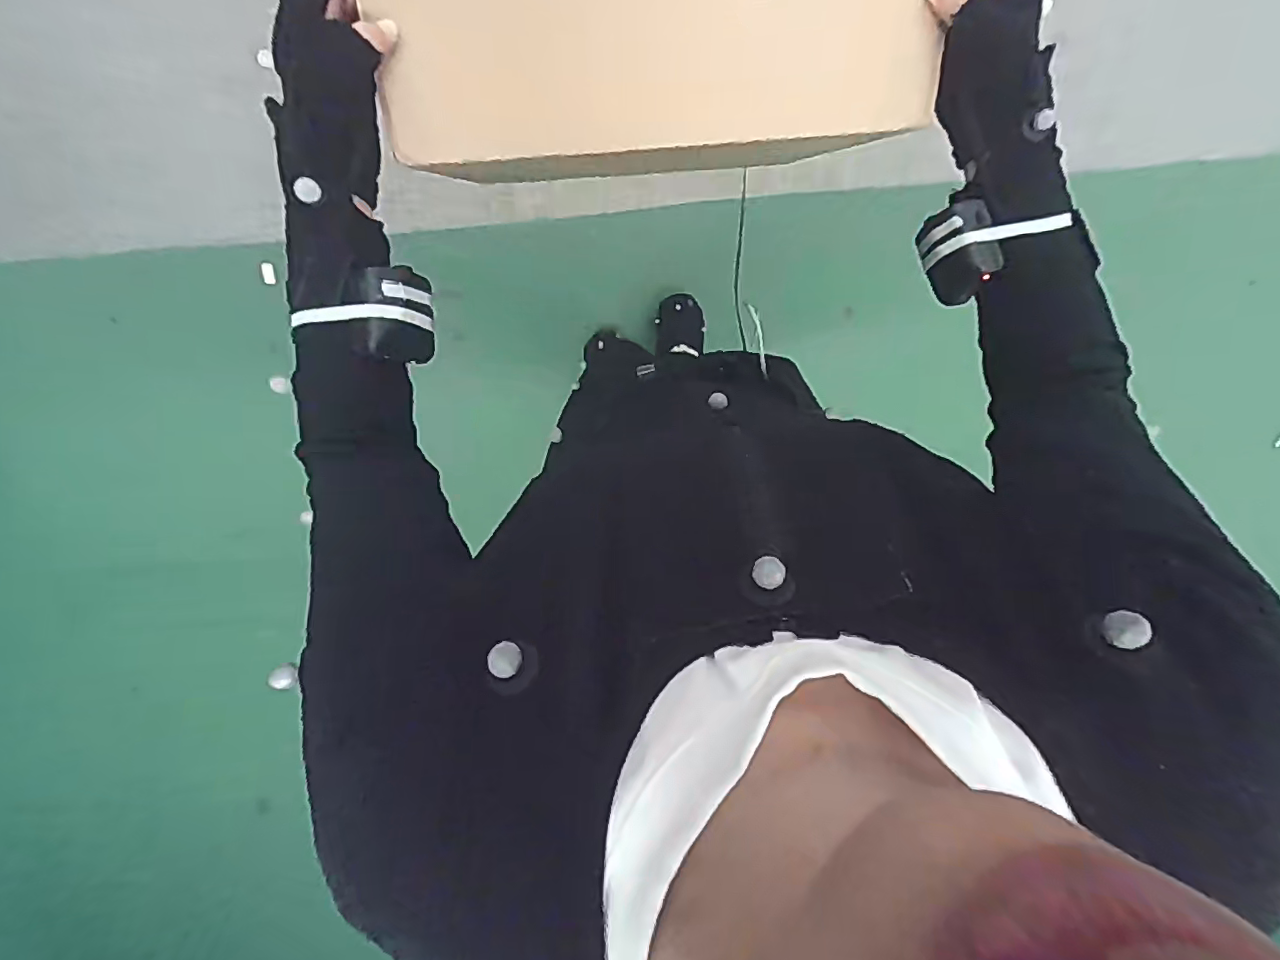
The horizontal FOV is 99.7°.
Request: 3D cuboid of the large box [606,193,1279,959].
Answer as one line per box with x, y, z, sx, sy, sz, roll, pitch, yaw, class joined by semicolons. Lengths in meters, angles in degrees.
0.224;0.102;0.329;0.320;0.320;0.408;6;69;27;large box
